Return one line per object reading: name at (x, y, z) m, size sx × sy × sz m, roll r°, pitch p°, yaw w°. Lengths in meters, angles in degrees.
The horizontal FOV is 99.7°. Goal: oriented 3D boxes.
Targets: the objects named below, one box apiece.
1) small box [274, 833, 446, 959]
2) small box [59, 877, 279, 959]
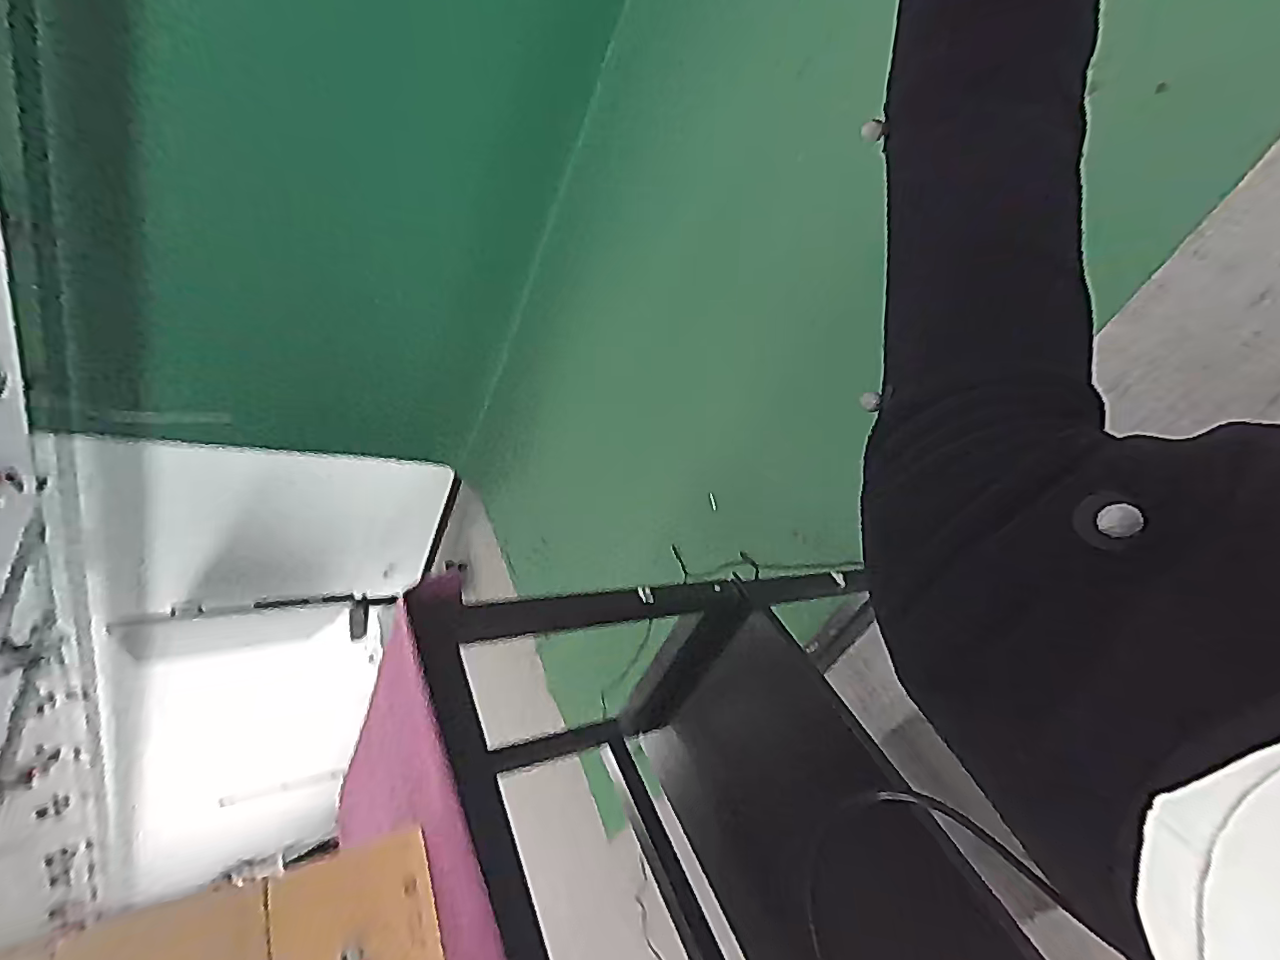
small box at (-0.335, 0.558, 0.640) m, size 0.168 × 0.176 × 0.179 m, roll 57°, pitch 131°, yaw 37°
small box at (-0.460, 0.549, 0.535) m, size 0.179 × 0.176 × 0.168 m, roll 54°, pitch 128°, yaw 40°
